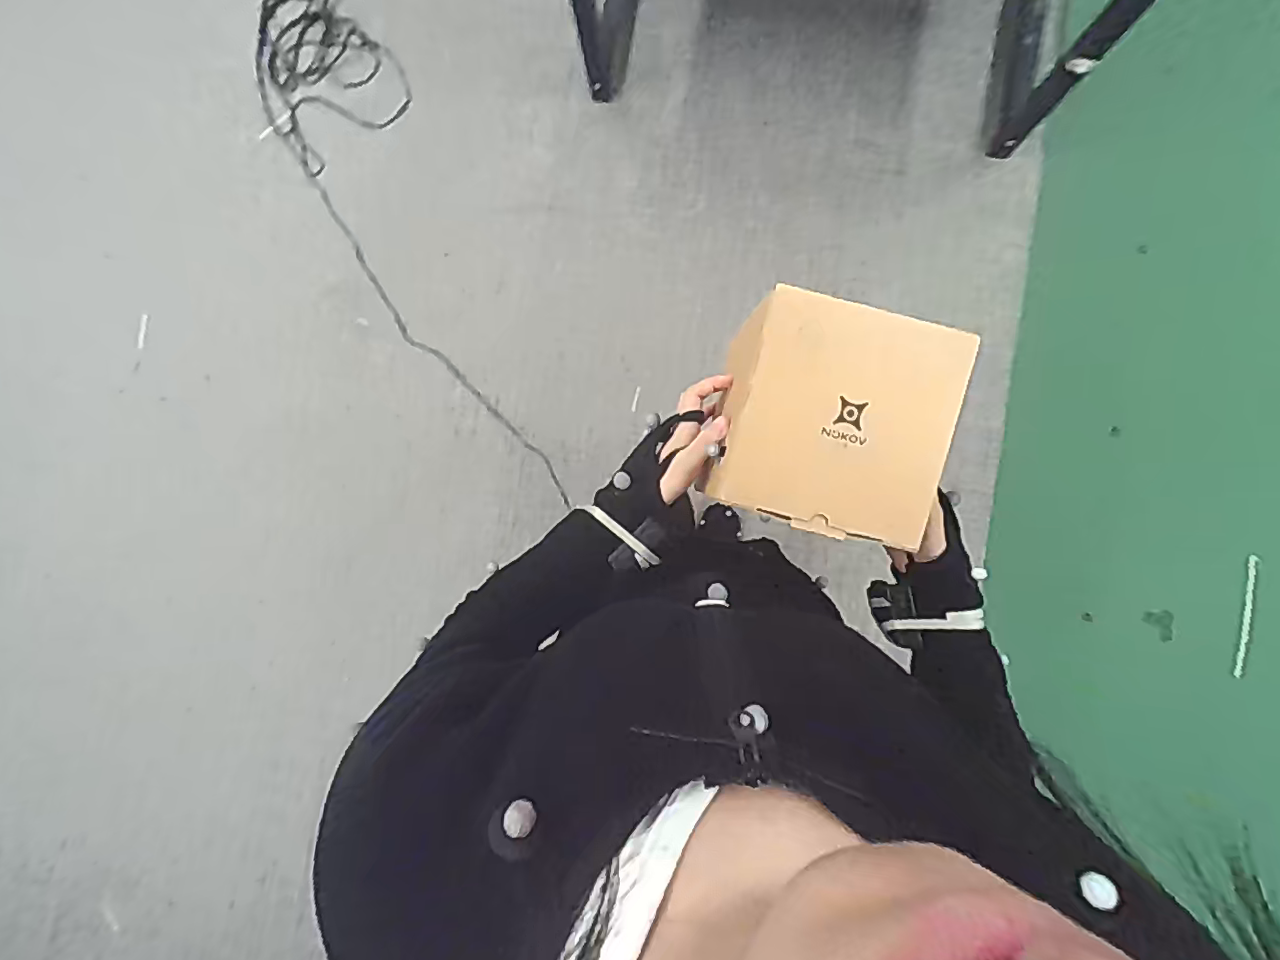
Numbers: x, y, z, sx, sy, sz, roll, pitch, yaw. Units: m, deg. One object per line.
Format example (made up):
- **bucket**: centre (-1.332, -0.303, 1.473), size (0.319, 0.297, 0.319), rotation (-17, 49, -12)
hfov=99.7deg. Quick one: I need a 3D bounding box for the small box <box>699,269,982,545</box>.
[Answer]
- **small box**: centre (0.155, -0.056, 0.479), size (0.168, 0.176, 0.179), rotation (13, 92, -1)
